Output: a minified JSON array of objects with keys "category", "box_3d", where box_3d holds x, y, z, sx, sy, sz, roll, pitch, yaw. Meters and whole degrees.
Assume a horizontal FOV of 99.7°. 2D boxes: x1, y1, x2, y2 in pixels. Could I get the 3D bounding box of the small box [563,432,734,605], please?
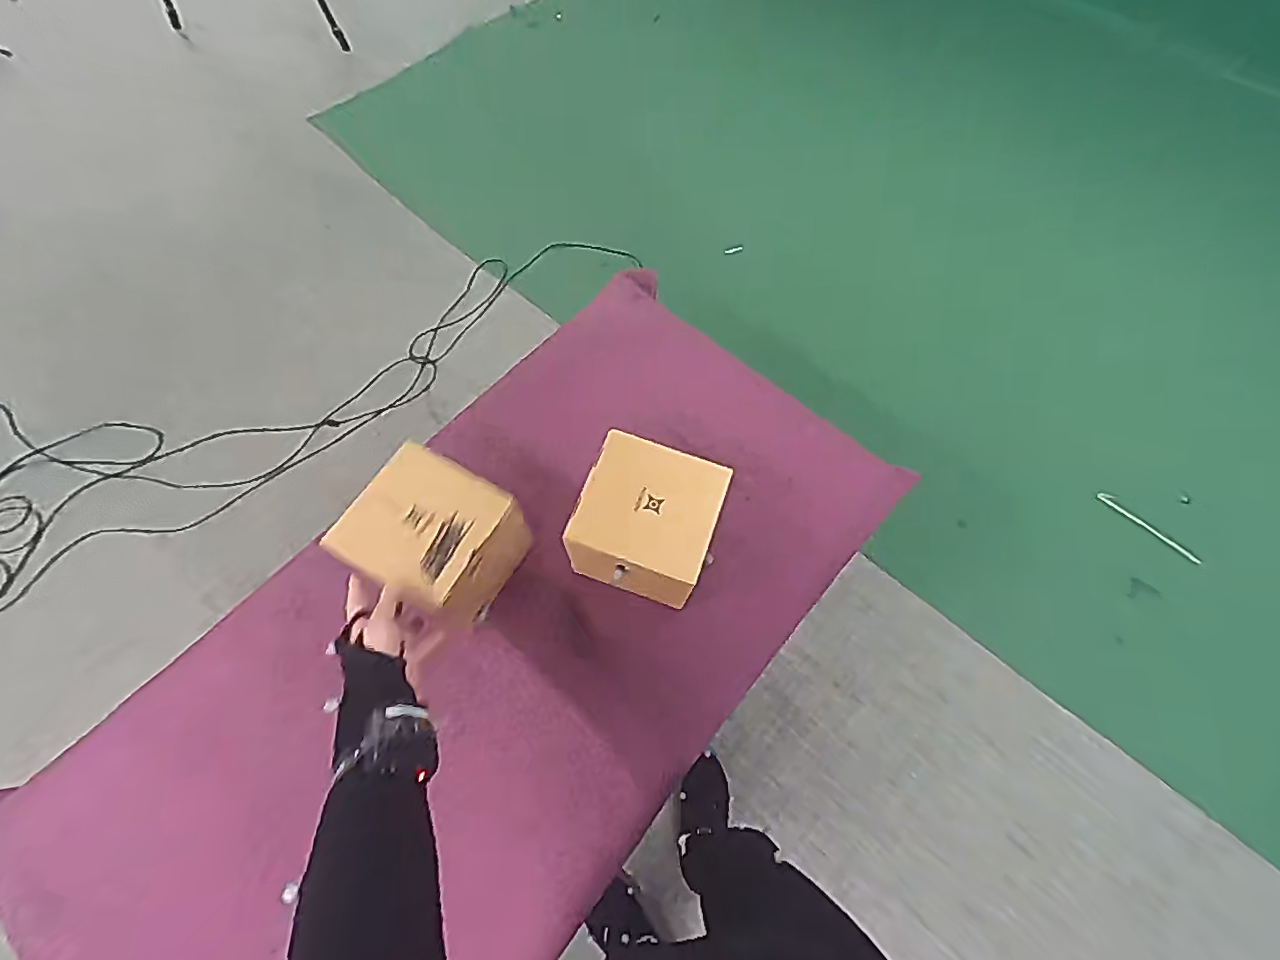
[{"category":"small box","box_3d":[0.012,0.064,0.753,0.179,0.176,0.168,20,68,7]}]
